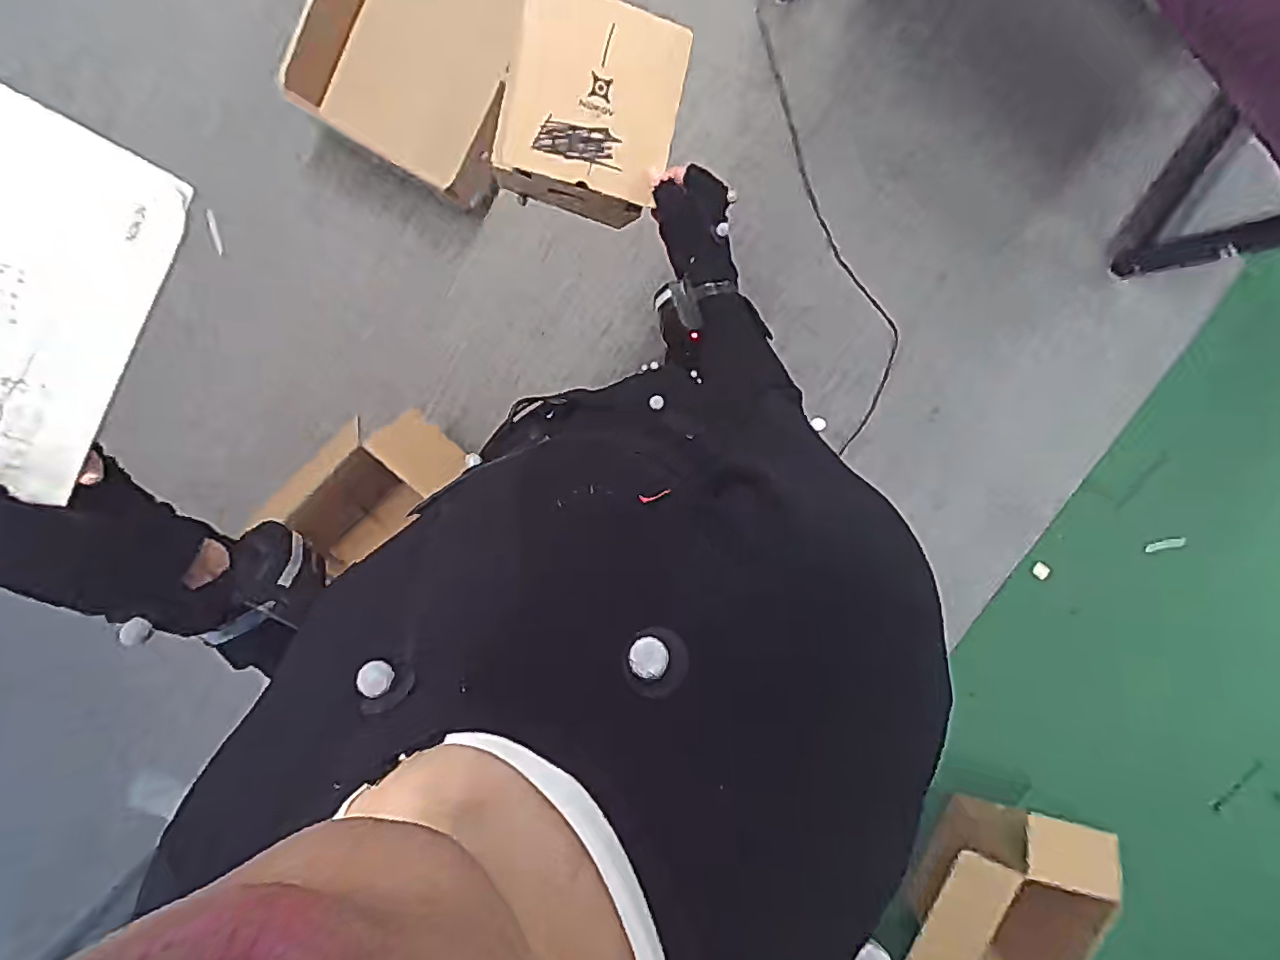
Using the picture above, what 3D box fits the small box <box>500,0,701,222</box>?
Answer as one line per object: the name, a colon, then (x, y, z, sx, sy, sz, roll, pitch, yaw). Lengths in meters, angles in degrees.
small box: (-0.054, -0.411, 0.613, 0.168, 0.176, 0.179, 14, 107, -17)
